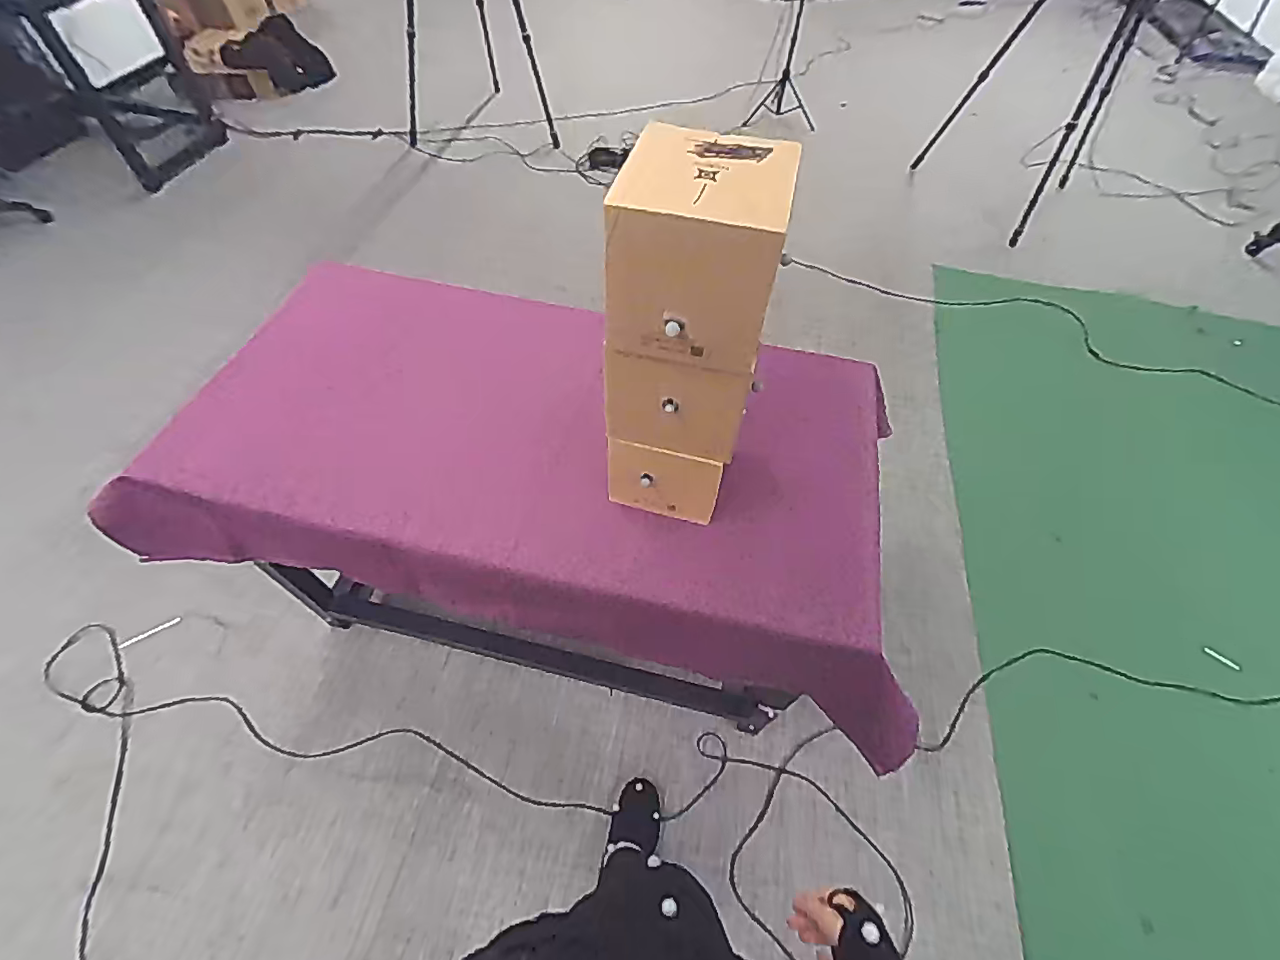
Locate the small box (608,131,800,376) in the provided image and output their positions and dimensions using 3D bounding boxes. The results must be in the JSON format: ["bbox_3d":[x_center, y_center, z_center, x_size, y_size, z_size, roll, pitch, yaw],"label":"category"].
[{"bbox_3d":[0.065,-0.243,0.589,0.168,0.176,0.179,12,55,7],"label":"small box"}]

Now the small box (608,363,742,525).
[{"bbox_3d":[0.055,-0.052,0.857,0.168,0.176,0.179,14,54,7],"label":"small box"}]
